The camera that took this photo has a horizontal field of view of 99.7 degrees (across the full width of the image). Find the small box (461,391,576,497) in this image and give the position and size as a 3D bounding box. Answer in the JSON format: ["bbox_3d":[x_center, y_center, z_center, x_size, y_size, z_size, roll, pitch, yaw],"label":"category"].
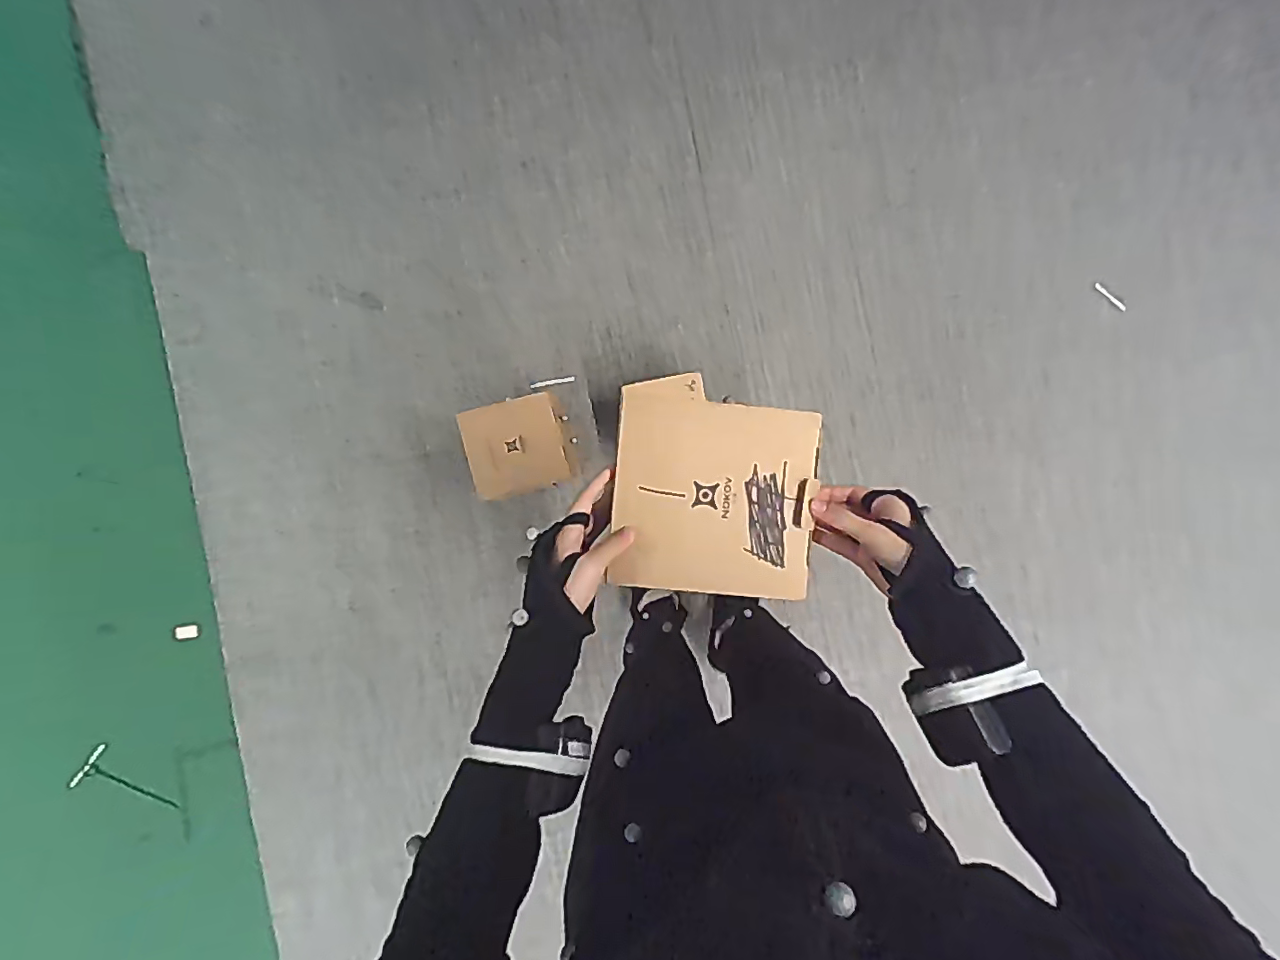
[{"bbox_3d":[-0.229,-0.068,1.074,0.179,0.176,0.168,-15,90,0],"label":"small box"}]

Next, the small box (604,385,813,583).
[{"bbox_3d":[0.060,0.005,0.559,0.179,0.176,0.168,5,88,-1],"label":"small box"}]
